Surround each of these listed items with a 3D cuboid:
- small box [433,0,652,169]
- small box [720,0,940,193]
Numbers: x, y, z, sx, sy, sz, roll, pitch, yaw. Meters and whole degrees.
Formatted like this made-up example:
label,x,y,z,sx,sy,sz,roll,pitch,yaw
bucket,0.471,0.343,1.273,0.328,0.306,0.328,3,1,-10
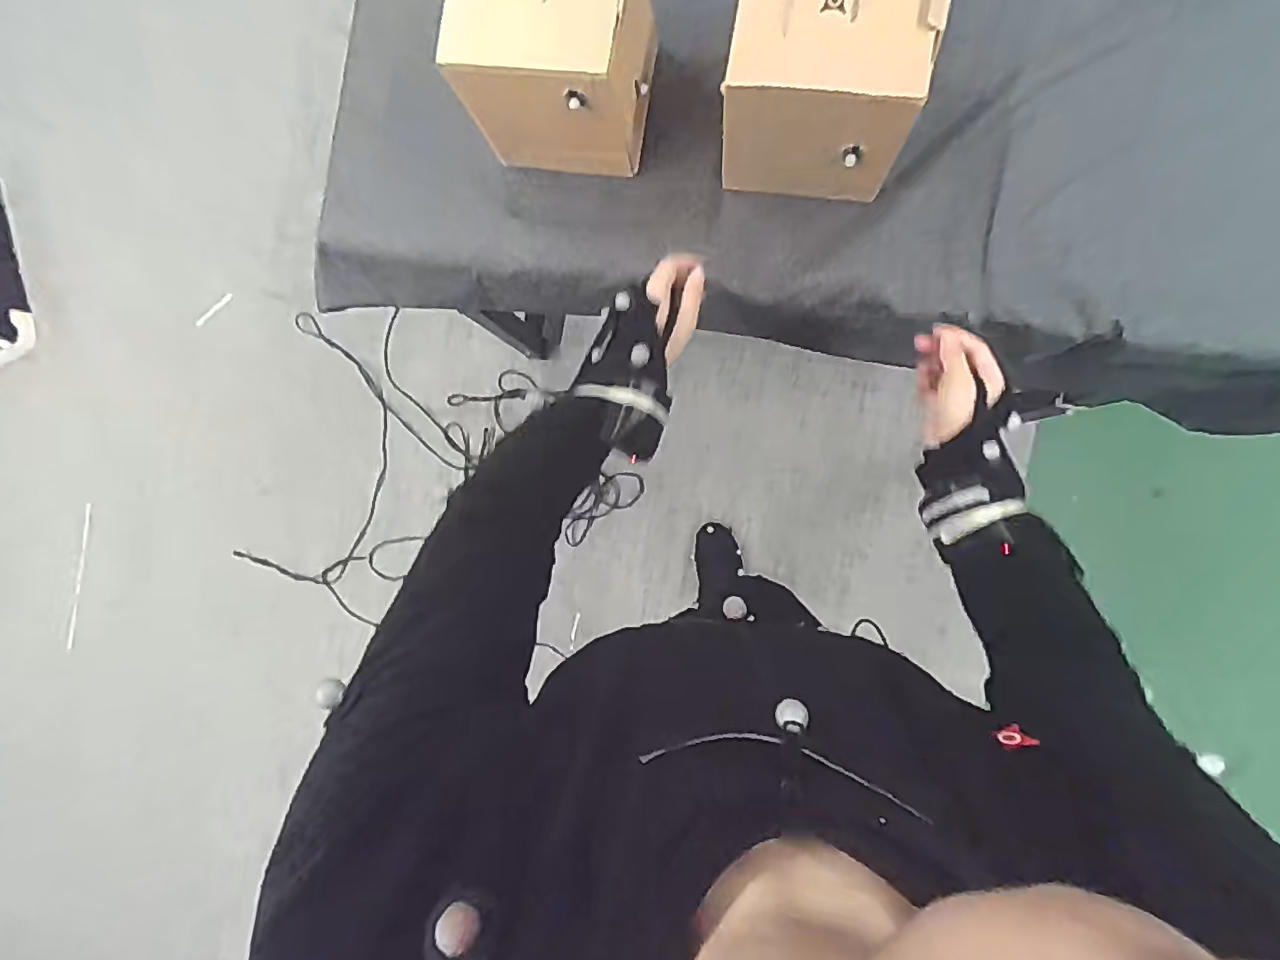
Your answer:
label,x,y,z,sx,sy,sz,roll,pitch,yaw
small box,-0.092,-0.469,0.589,0.179,0.176,0.168,9,90,8
small box,0.182,-0.418,0.548,0.179,0.176,0.168,9,89,10
